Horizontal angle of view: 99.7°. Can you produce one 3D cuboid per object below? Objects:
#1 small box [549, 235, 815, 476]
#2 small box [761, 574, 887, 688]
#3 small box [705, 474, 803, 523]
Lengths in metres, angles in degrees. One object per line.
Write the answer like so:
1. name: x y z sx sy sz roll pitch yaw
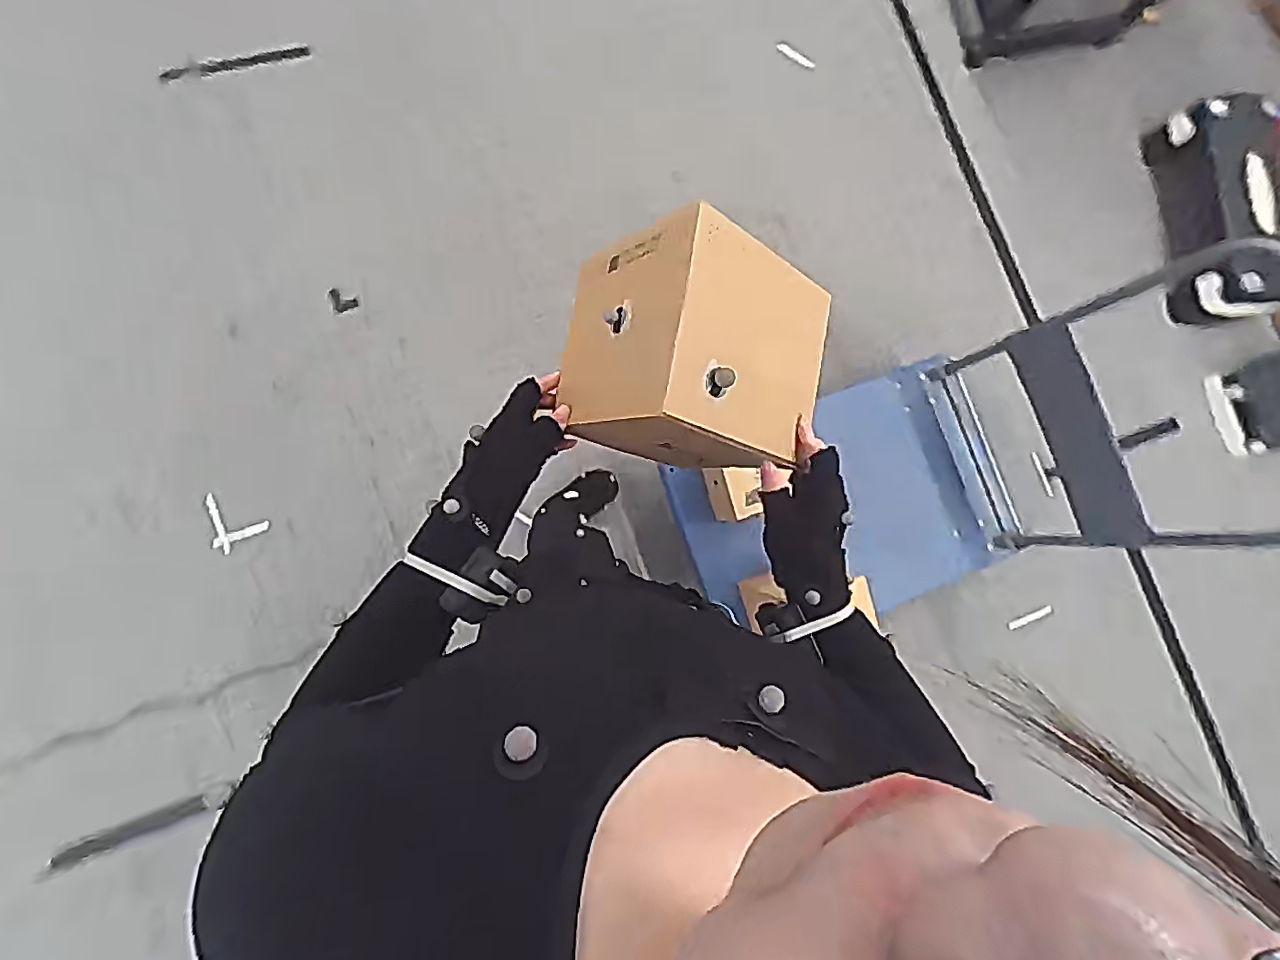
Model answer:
1. small box: 0.041 -0.103 0.507 0.179 0.168 0.176 14 83 -37
2. small box: 0.368 0.298 1.114 0.168 0.176 0.179 -14 88 -9
3. small box: 0.260 -0.002 1.290 0.168 0.176 0.179 -15 86 -9
